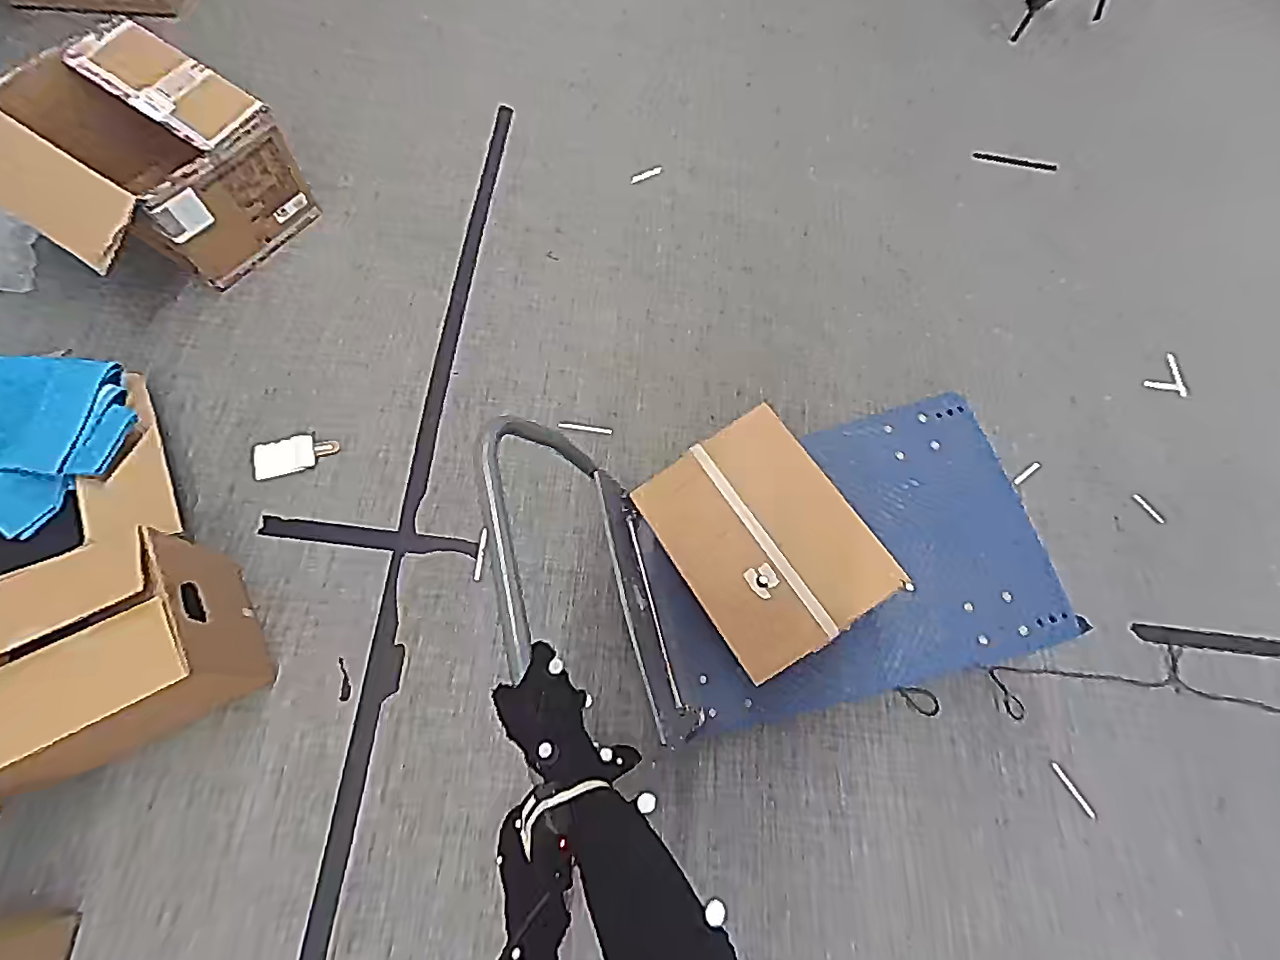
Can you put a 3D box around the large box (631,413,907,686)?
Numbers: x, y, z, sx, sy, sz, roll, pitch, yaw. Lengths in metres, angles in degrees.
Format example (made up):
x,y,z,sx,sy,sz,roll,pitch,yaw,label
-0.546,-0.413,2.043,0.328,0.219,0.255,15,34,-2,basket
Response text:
x,y,z,sx,sy,sz,roll,pitch,yaw,label
0.238,0.146,1.101,0.320,0.320,0.408,-36,71,0,large box
